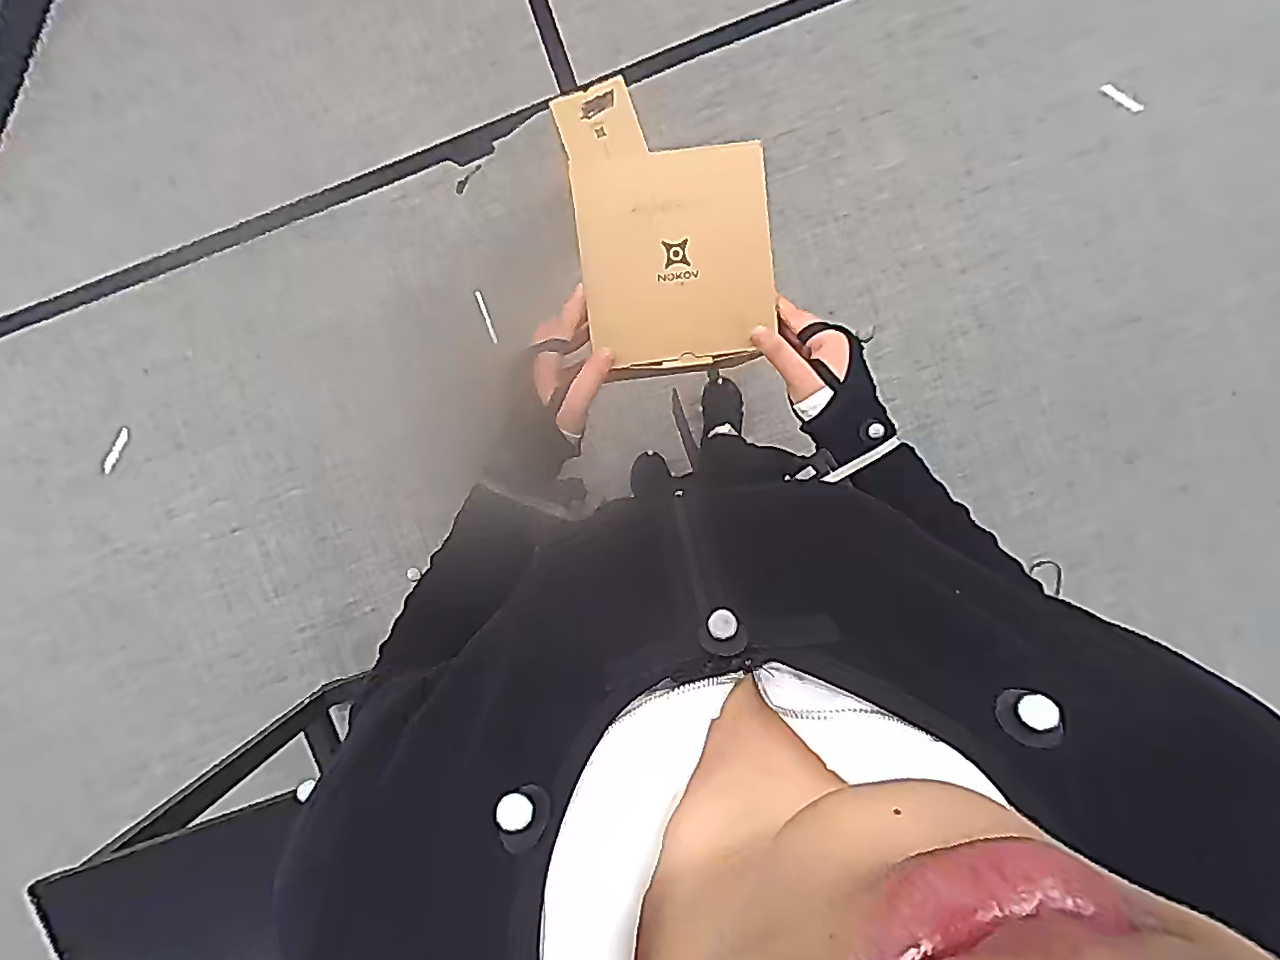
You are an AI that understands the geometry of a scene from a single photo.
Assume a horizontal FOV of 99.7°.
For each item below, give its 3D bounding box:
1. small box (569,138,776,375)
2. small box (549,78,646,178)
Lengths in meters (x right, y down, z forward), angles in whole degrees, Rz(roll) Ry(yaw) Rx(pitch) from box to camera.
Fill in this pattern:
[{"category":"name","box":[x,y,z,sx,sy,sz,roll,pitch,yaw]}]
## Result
[{"category":"small box","box":[0.027,-0.202,0.541,0.168,0.176,0.179,-8,97,-3]},{"category":"small box","box":[-0.090,-0.737,1.211,0.168,0.176,0.179,-20,95,0]}]
